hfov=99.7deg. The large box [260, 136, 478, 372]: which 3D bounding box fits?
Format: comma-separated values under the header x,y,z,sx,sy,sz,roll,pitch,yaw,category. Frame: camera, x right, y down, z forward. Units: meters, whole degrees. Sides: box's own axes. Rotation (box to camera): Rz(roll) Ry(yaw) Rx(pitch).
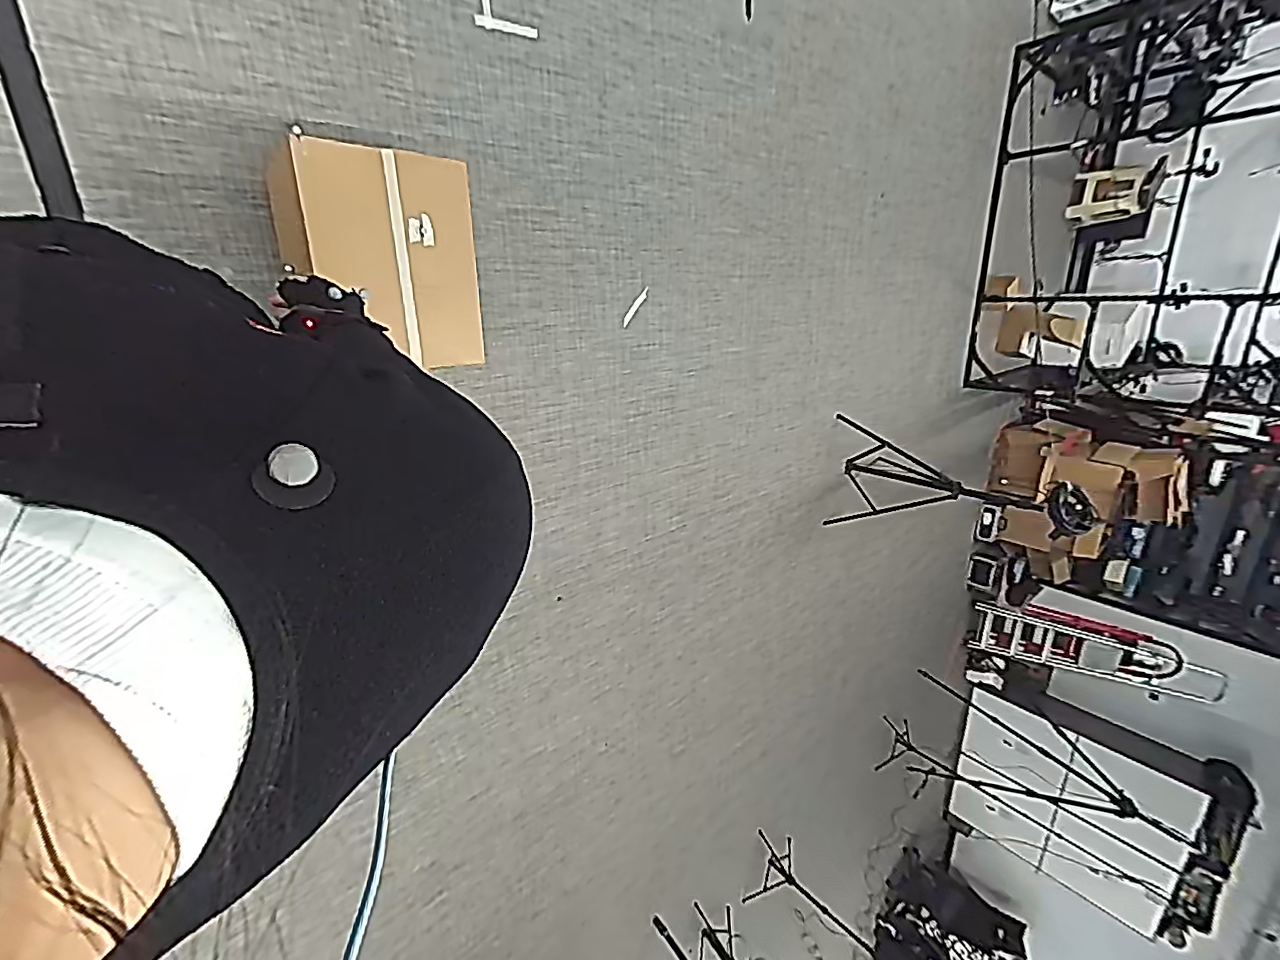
x,y,z,sx,sy,sz,roll,pitch,yaw,category
-0.585,-0.459,1.177,0.320,0.320,0.408,-16,112,-39,large box
